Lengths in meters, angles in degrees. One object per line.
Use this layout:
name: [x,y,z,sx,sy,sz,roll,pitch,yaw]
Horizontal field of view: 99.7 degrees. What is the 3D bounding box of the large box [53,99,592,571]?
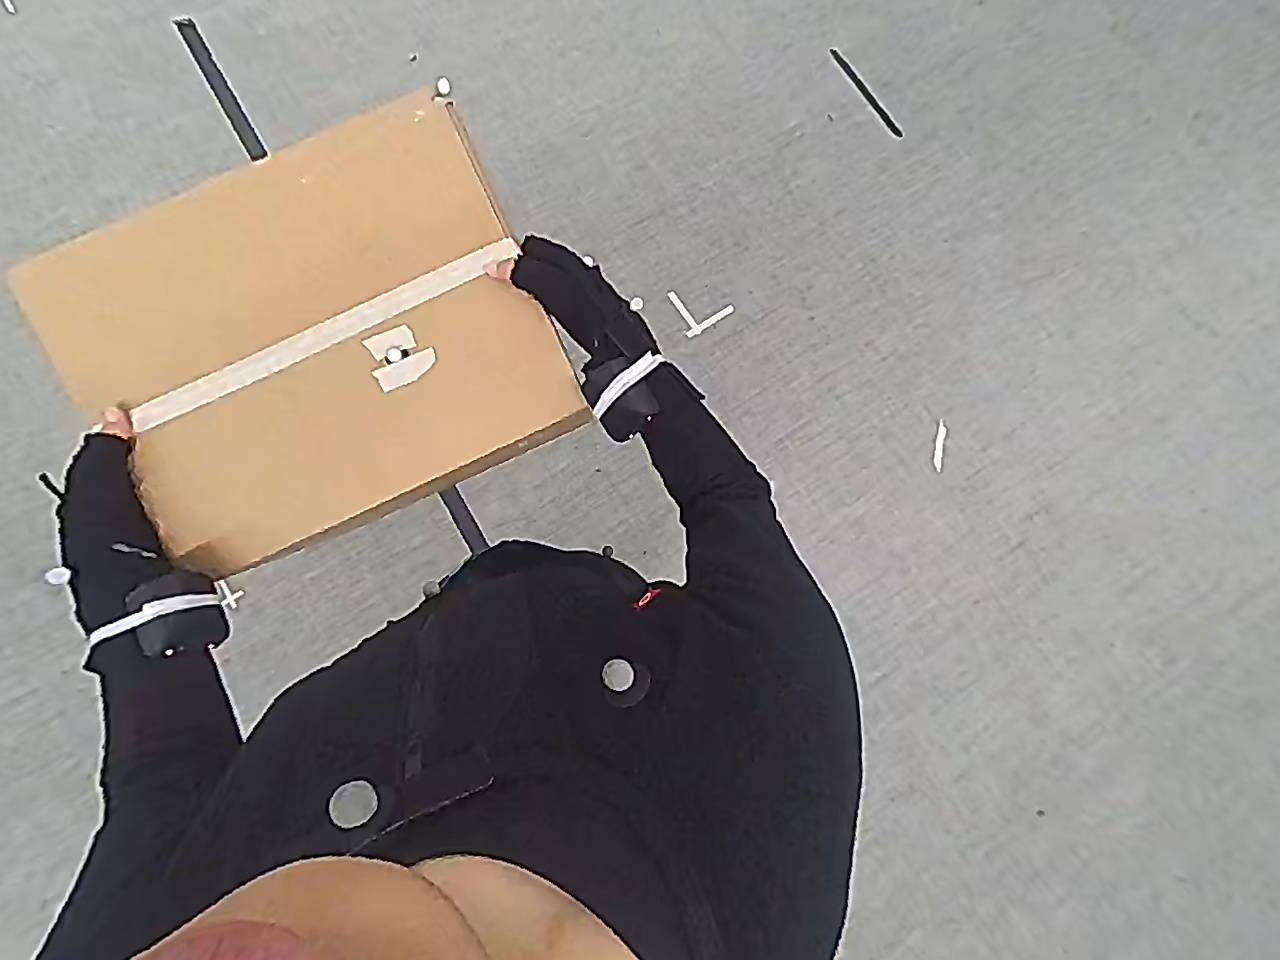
large box: [-0.302,-0.142,0.654,0.408,0.320,0.320,-25,97,-3]
